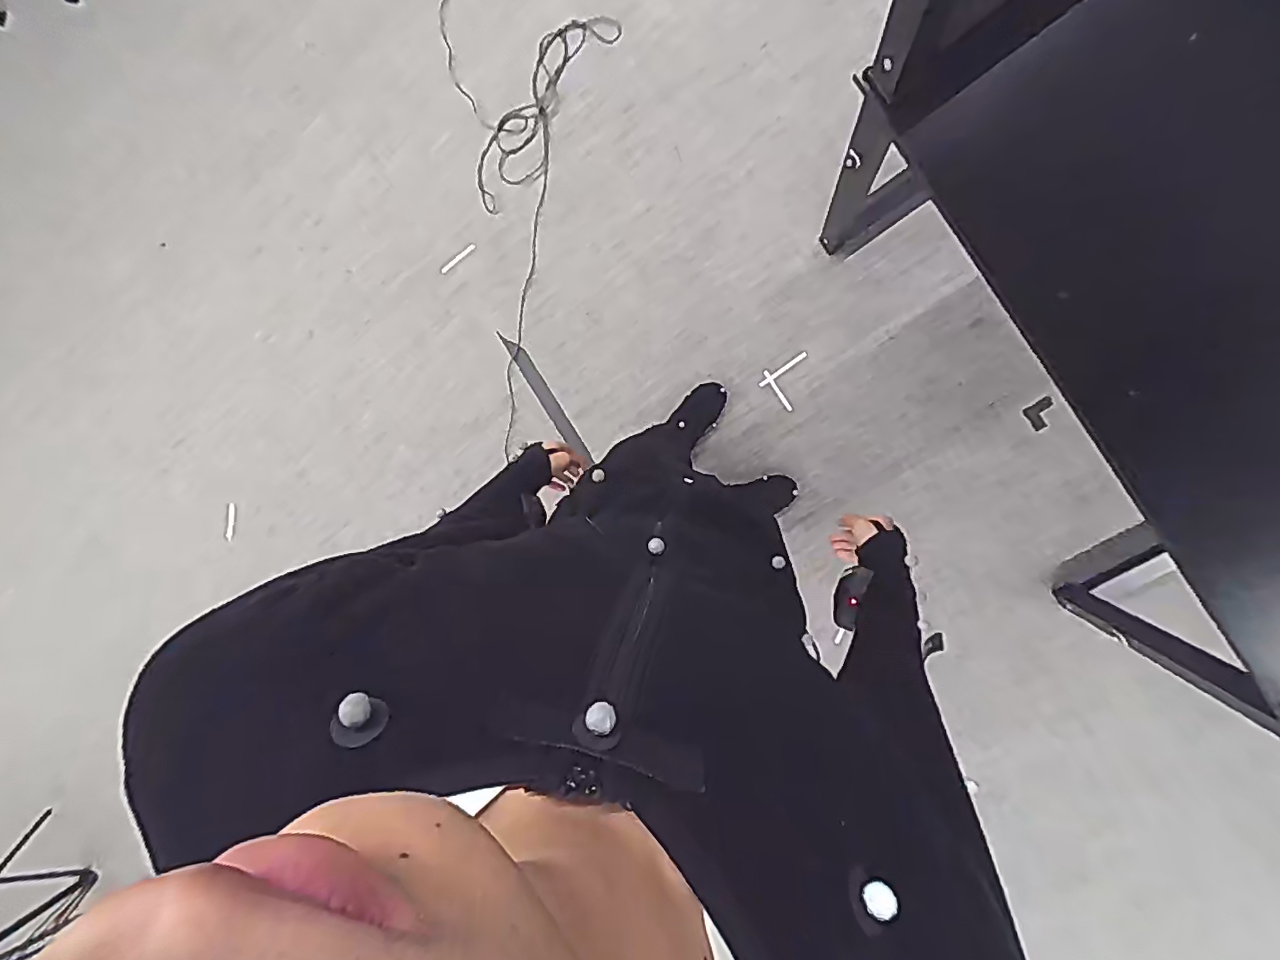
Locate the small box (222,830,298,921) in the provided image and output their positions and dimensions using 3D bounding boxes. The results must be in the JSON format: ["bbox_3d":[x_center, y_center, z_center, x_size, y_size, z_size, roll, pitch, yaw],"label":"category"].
[{"bbox_3d":[-1.288,1.311,1.788,0.179,0.176,0.168,-35,89,15],"label":"small box"}]
